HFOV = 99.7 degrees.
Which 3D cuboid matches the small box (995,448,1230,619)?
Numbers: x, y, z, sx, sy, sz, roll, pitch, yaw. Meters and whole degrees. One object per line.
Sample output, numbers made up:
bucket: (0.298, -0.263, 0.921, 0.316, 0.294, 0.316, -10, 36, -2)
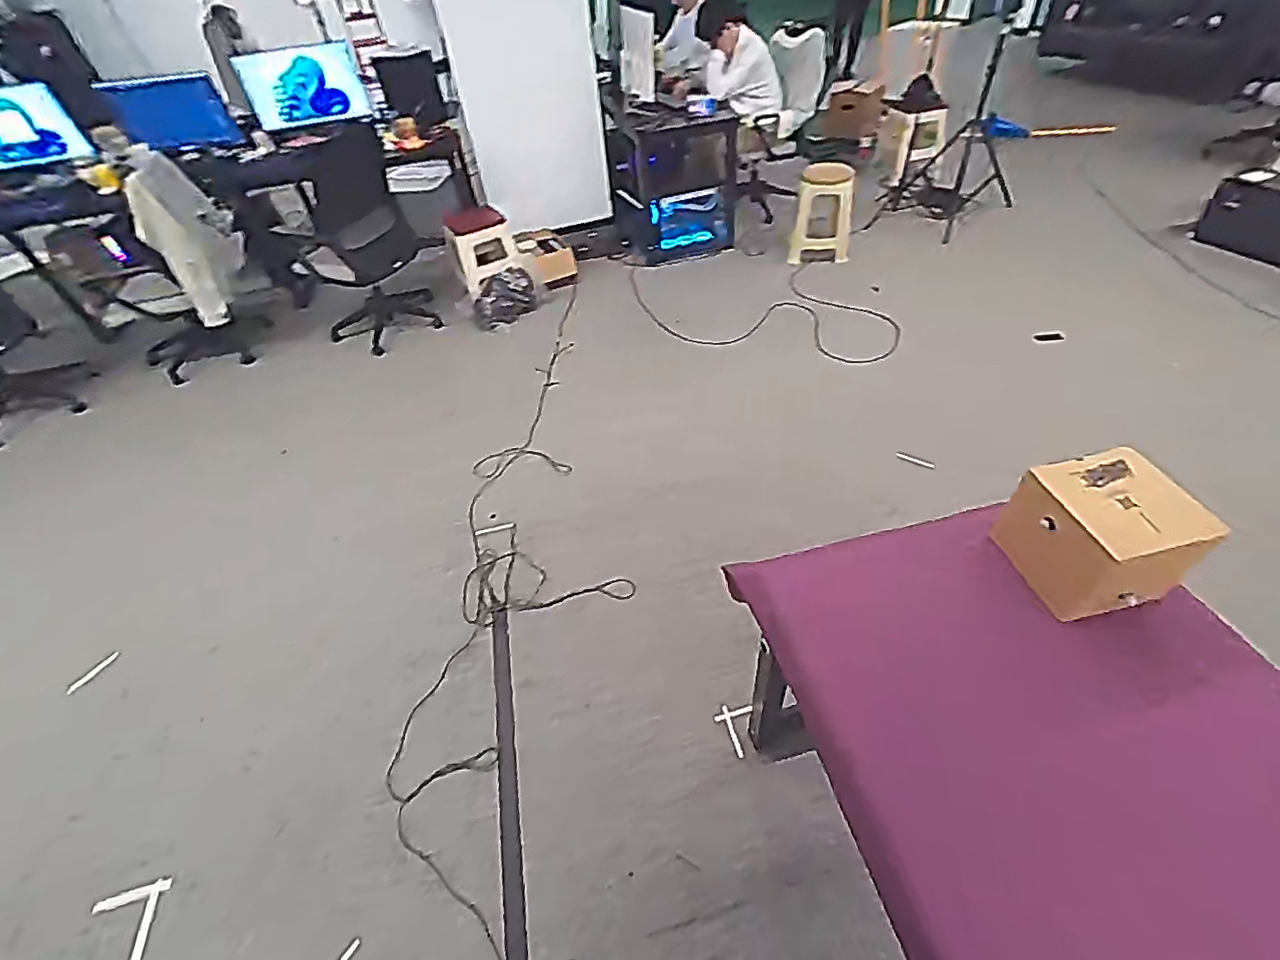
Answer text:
small box: (0.687, 0.081, 0.819, 0.168, 0.176, 0.179, -13, 47, -3)
